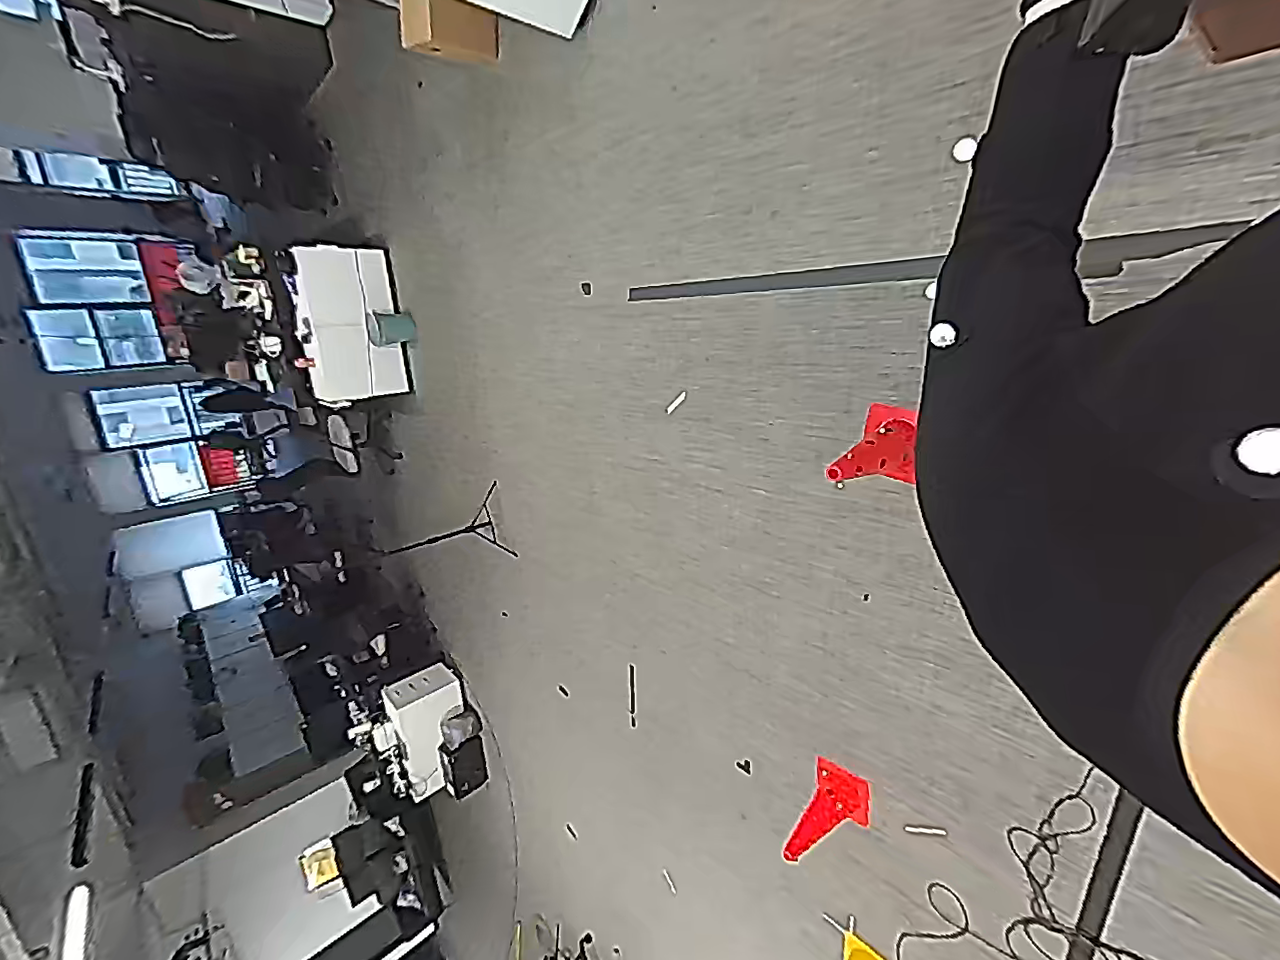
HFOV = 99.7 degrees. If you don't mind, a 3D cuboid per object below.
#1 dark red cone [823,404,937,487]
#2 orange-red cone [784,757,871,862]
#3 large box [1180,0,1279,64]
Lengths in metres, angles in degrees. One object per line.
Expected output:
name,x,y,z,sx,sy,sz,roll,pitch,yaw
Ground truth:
dark red cone,0.576,-0.058,1.373,0.201,0.394,0.202,22,120,42
orange-red cone,0.605,1.159,1.830,0.198,0.360,0.199,13,115,47
large box,0.537,-0.456,0.228,0.408,0.320,0.320,14,119,46
